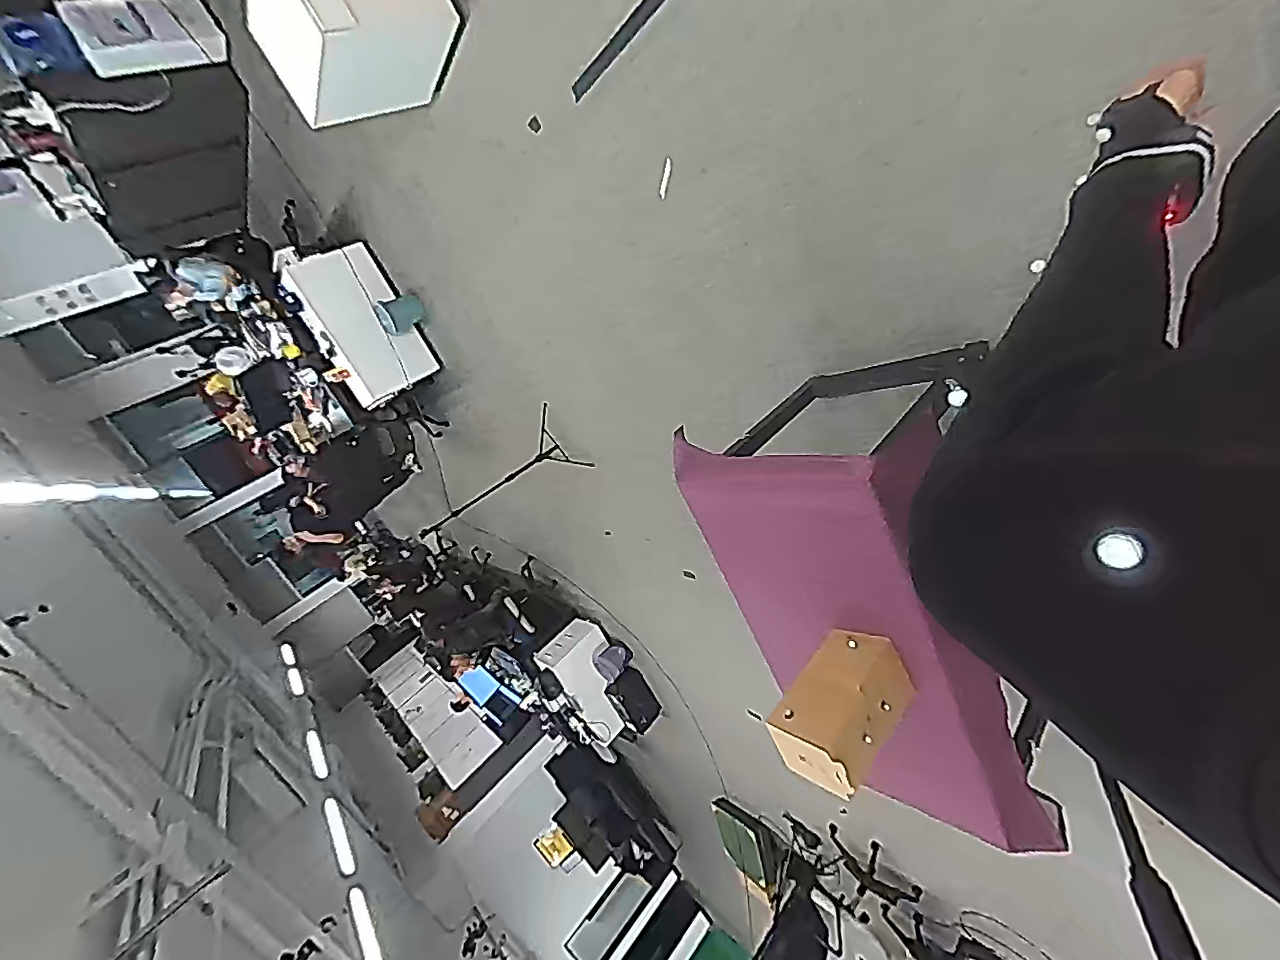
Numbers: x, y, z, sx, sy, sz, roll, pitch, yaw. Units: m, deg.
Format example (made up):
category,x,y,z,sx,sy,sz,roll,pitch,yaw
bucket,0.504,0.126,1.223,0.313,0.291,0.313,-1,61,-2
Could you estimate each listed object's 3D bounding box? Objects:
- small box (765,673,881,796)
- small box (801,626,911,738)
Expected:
category,x,y,z,sx,sy,sz,roll,pitch,yaw
small box,0.433,0.587,1.274,0.179,0.176,0.168,1,124,53
small box,0.545,0.496,1.353,0.168,0.176,0.179,-8,116,55
